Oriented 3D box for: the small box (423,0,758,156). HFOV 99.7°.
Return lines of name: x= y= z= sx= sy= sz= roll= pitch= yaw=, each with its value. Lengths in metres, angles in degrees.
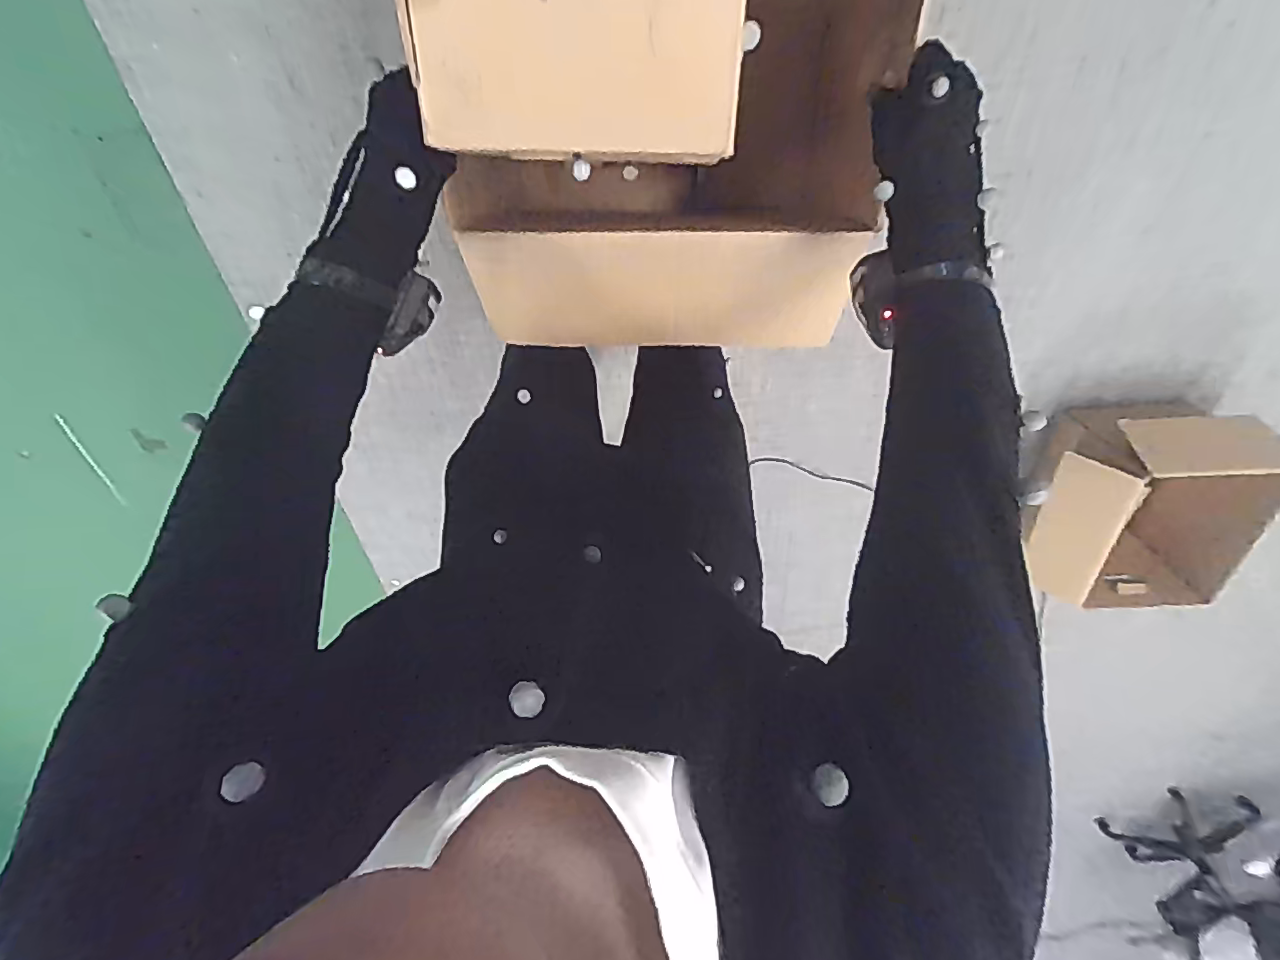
small box: x=-0.021 y=-0.299 z=0.336 sx=0.179 sy=0.176 sz=0.168 roll=2 pitch=121 yaw=3
